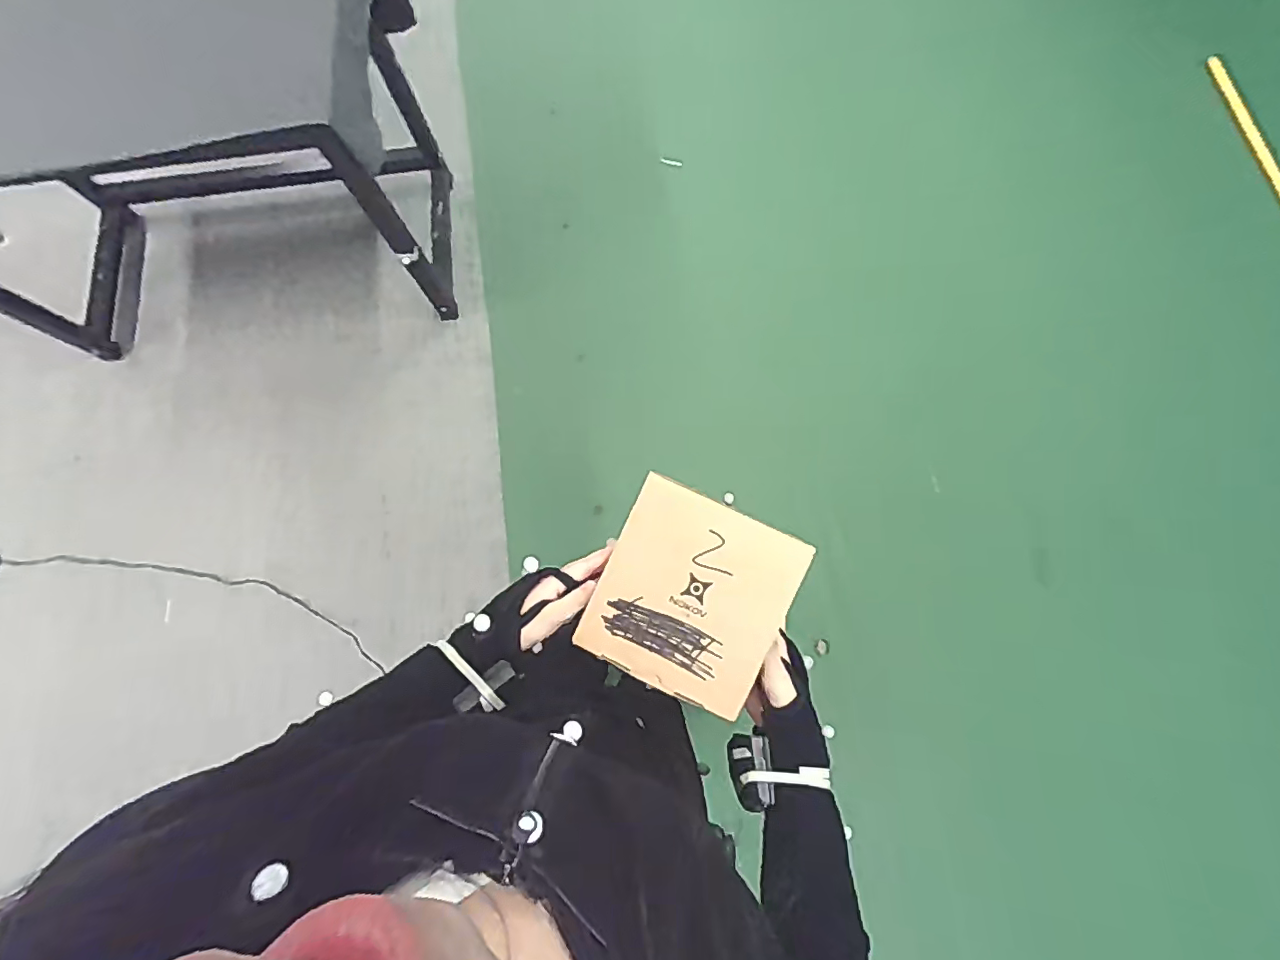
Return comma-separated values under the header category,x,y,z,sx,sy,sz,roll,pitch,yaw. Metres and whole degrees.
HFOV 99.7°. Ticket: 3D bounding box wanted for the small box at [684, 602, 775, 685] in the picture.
category,x,y,z,sx,sy,sz,roll,pitch,yaw
small box,0.198,0.372,1.248,0.179,0.176,0.168,-5,75,1
